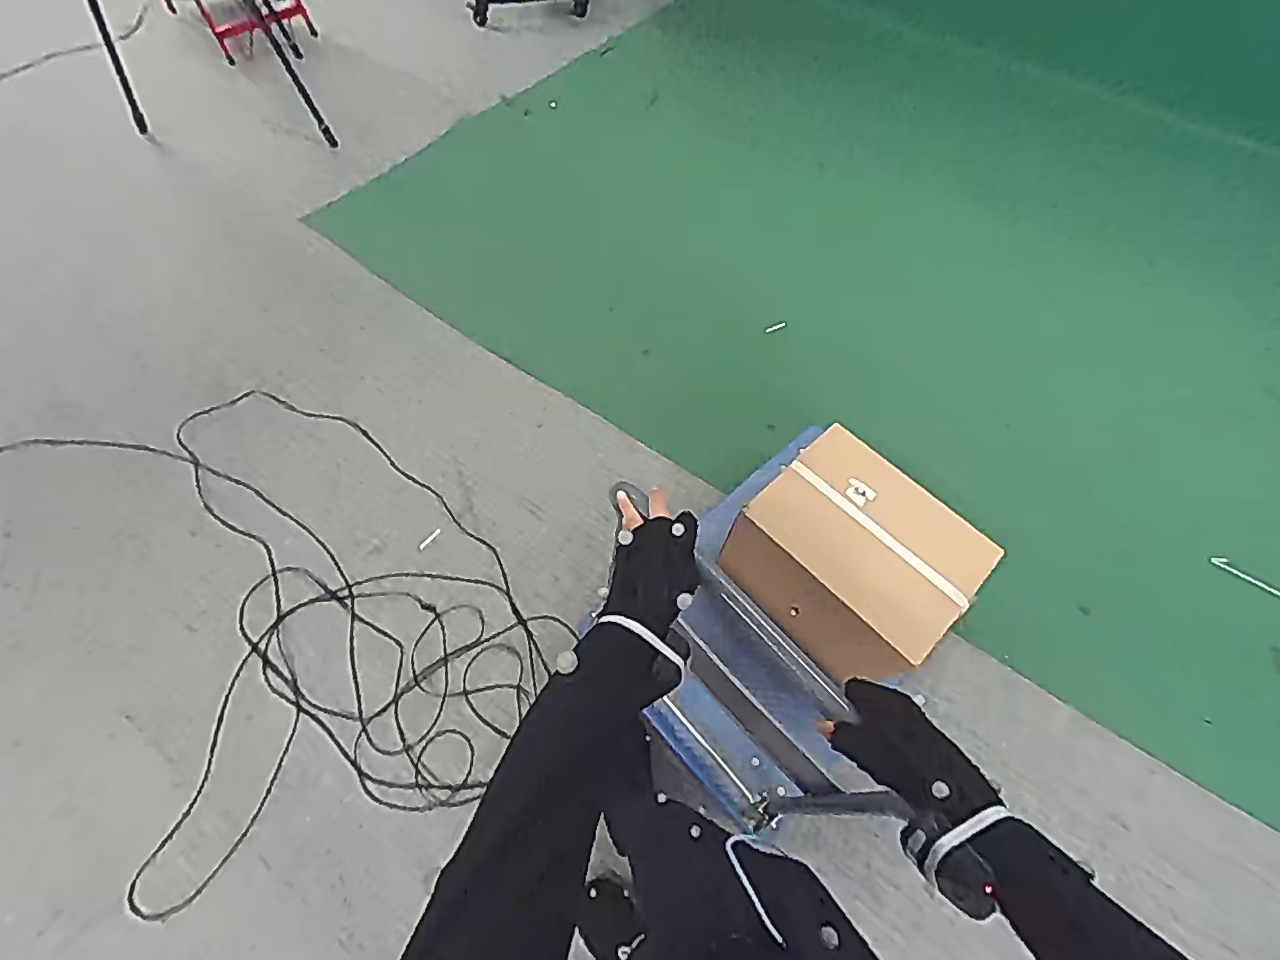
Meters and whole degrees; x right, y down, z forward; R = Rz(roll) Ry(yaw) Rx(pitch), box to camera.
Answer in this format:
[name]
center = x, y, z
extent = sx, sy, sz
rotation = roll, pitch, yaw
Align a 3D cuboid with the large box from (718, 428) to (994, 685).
[large box]
center = 0.435, 0.172, 1.180
extent = 0.320, 0.320, 0.408
rotation = -39, 69, -21
